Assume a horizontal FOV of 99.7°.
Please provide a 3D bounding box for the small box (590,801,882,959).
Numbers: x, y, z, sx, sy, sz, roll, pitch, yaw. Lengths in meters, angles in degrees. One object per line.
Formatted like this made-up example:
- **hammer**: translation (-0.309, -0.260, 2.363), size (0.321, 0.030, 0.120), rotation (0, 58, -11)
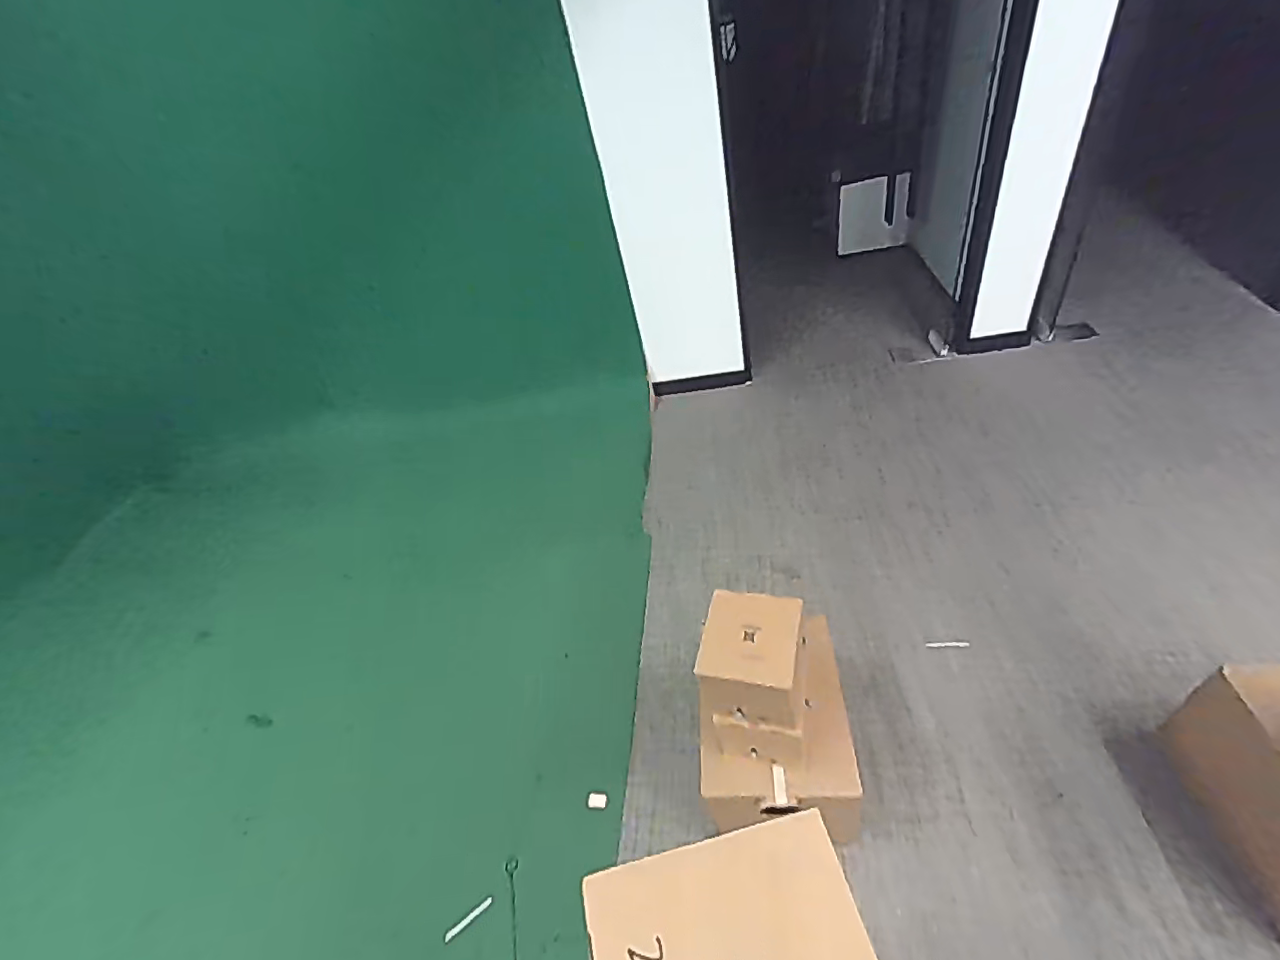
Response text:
- **small box**: translation (0.074, 0.360, 0.395), size (0.179, 0.176, 0.168), rotation (-15, 49, -2)

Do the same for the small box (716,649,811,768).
- **small box**: translation (0.259, 0.454, 1.102), size (0.168, 0.176, 0.179), rotation (0, 44, 20)

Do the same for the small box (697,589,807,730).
- **small box**: translation (0.216, 0.330, 1.004), size (0.168, 0.176, 0.179), rotation (2, 45, 23)

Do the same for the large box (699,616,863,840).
- **large box**: translation (0.324, 0.594, 1.297), size (0.320, 0.320, 0.408), rotation (-7, 41, 12)
